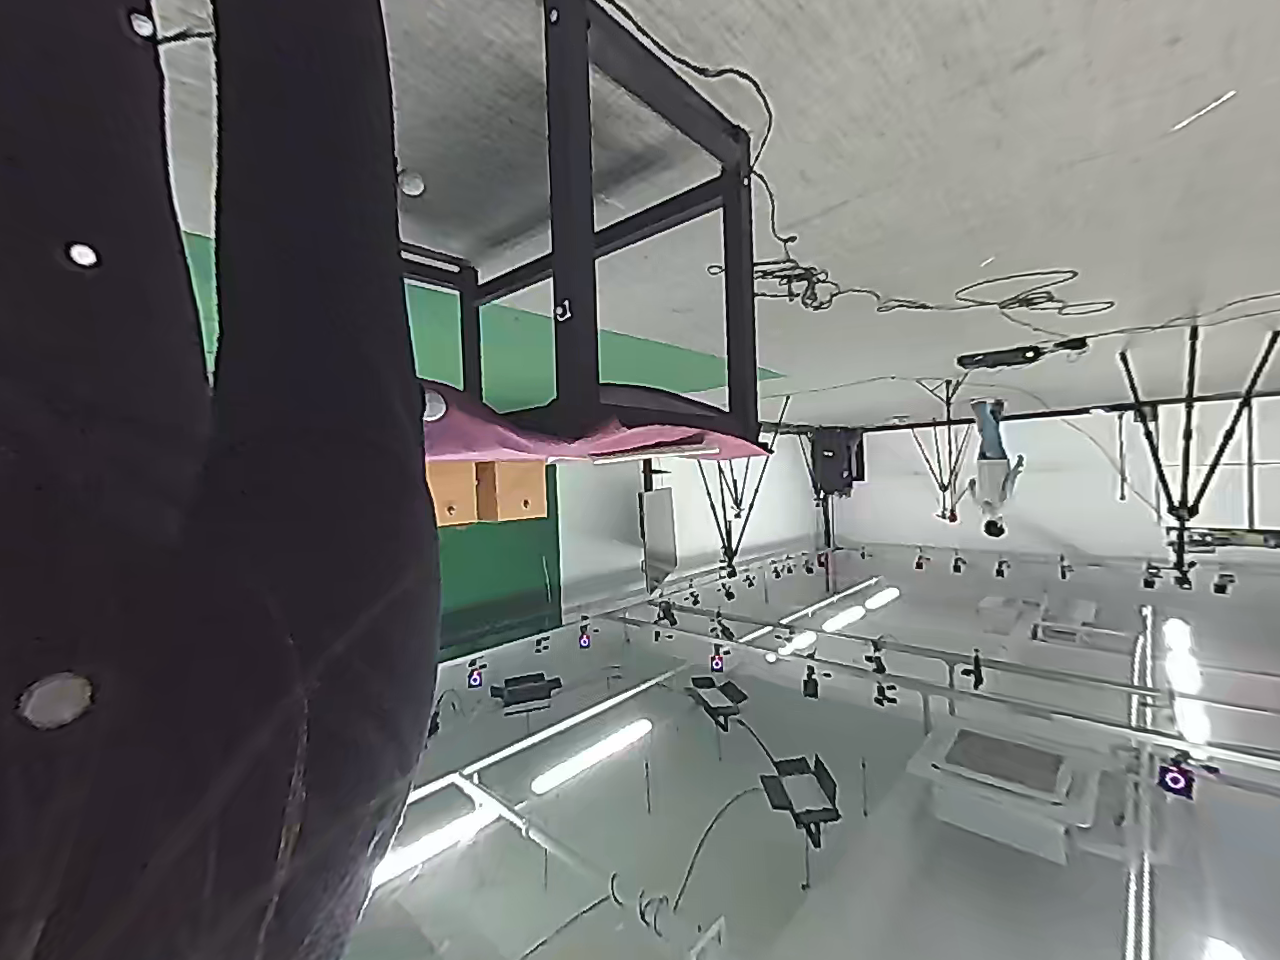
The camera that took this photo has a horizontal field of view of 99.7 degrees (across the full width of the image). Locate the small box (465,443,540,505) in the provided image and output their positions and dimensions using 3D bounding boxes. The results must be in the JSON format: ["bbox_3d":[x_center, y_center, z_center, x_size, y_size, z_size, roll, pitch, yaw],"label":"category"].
[{"bbox_3d":[-0.410,-0.022,1.573,0.168,0.176,0.179,0,-178,39],"label":"small box"}]

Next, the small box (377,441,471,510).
[{"bbox_3d":[-0.567,-0.012,1.414,0.168,0.176,0.179,-1,-178,37],"label":"small box"}]
